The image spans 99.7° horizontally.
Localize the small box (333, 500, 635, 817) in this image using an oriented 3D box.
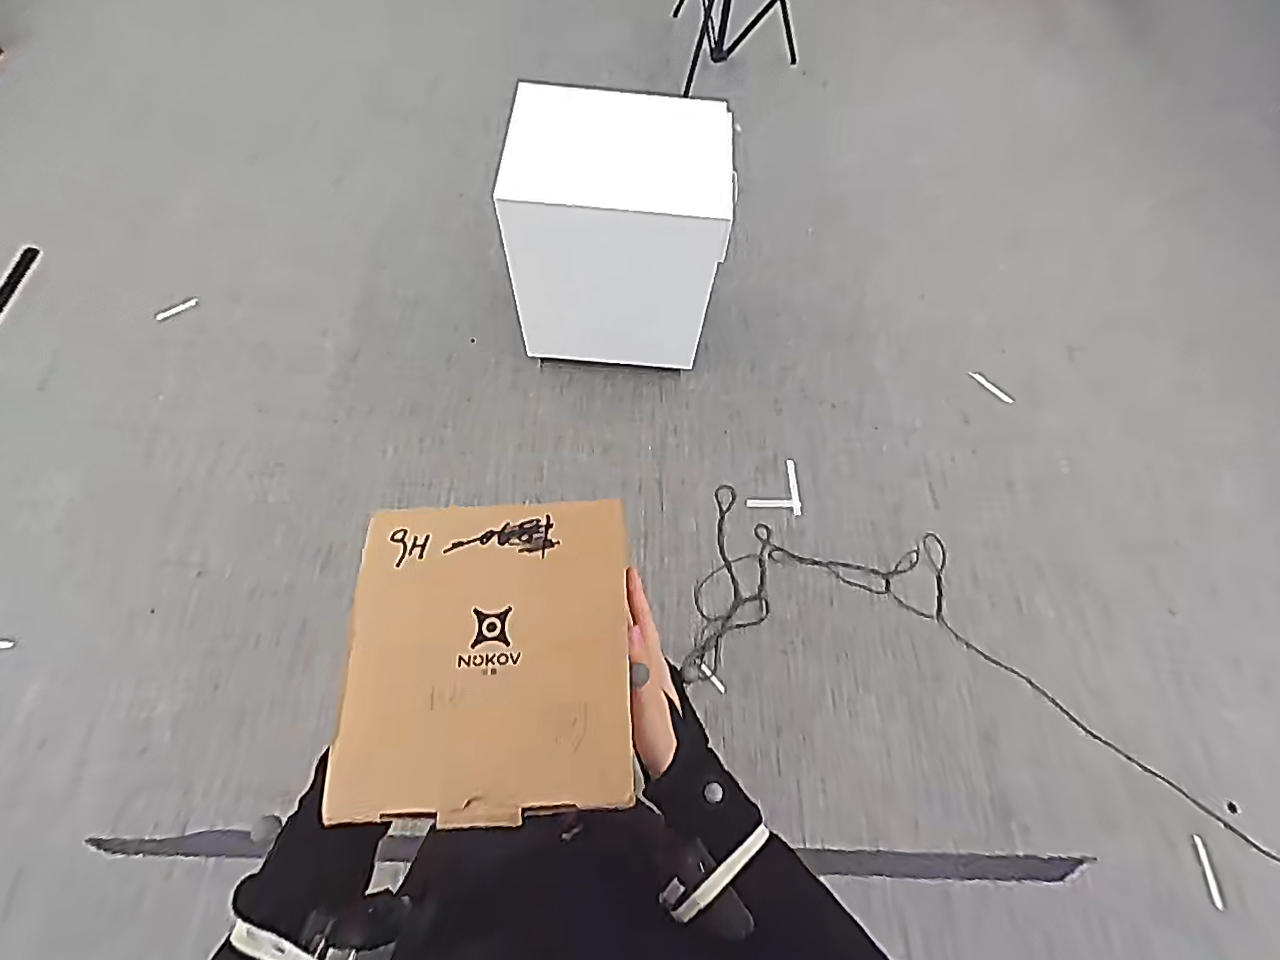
[{"bbox_3d":[-0.088,0.126,0.395,0.168,0.176,0.179,-2,67,-2],"label":"small box"}]
